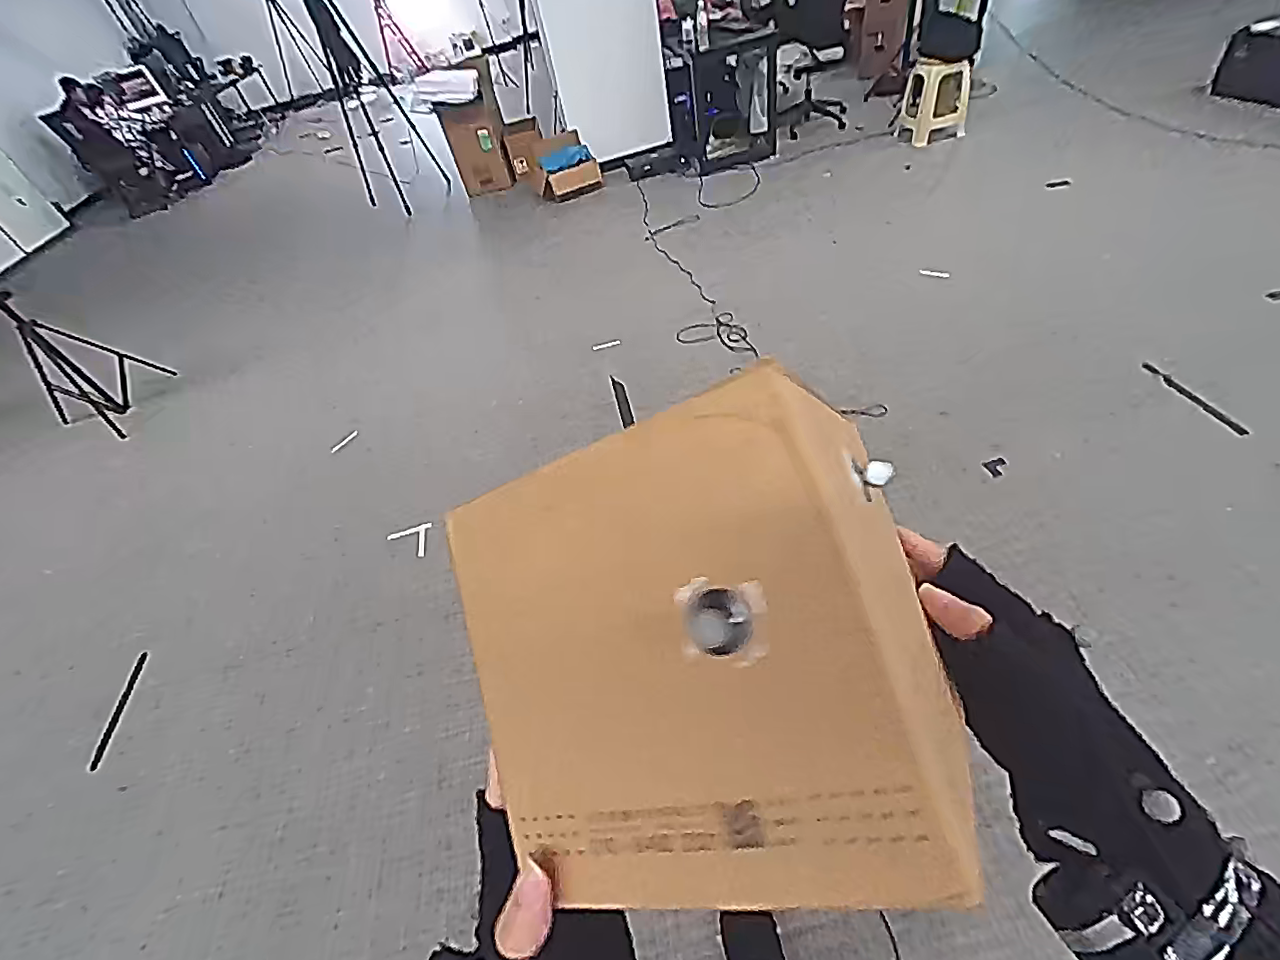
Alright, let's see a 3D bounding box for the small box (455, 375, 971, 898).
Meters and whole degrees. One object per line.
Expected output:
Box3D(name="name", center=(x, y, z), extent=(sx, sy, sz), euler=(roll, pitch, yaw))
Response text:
Box3D(name="small box", center=(0.044, 0.072, 0.272), extent=(0.168, 0.179, 0.176), euler=(-21, 78, 25))
